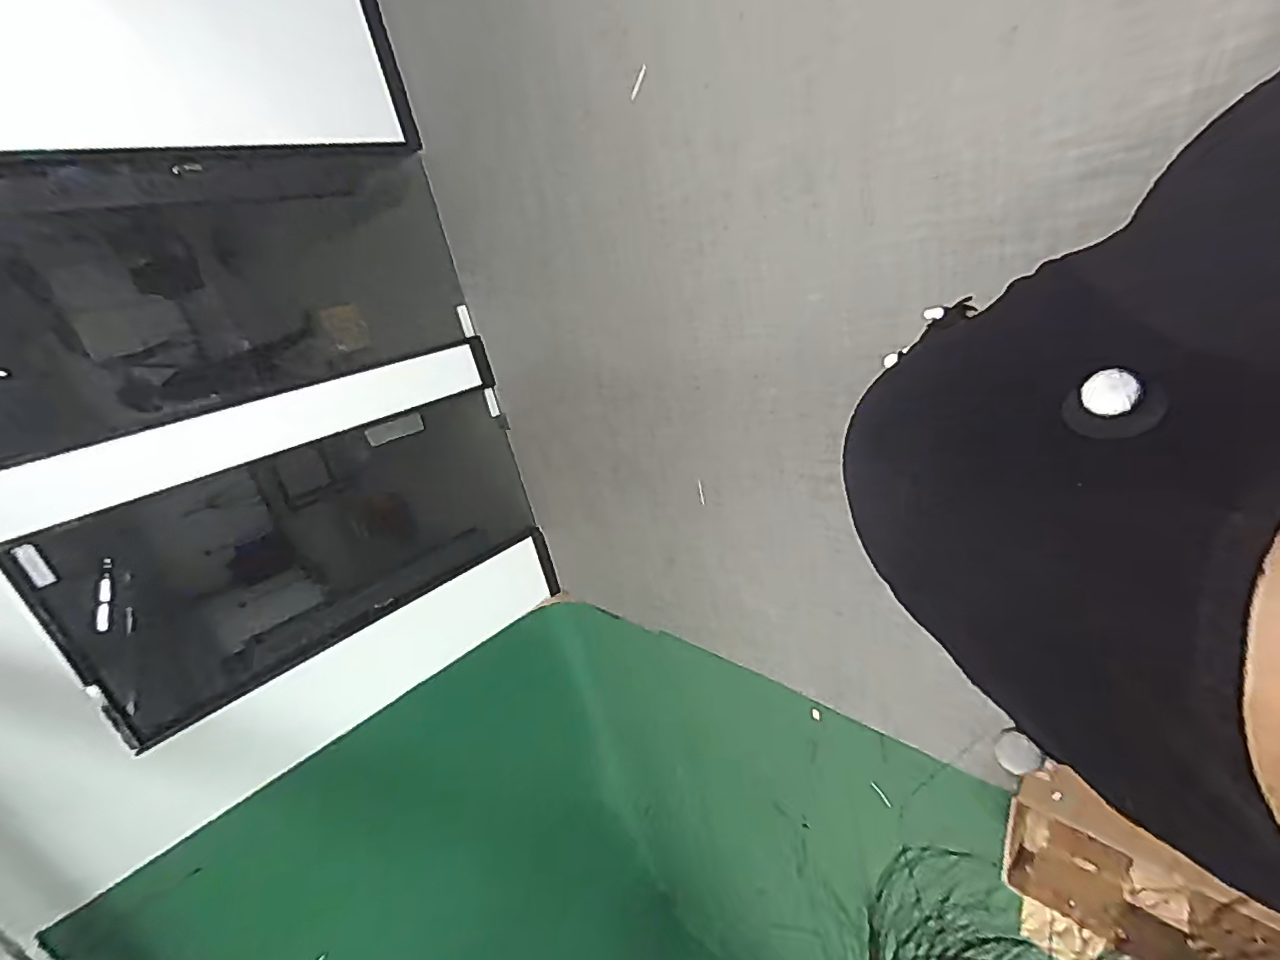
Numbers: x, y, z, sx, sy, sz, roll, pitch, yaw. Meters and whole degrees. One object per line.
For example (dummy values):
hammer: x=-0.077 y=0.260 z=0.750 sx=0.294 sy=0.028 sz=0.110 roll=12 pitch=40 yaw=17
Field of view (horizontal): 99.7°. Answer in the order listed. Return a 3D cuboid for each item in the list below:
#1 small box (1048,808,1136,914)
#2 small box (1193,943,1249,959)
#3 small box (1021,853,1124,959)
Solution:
small box: x=1.221 y=1.047 z=1.472 sx=0.168 sy=0.176 sz=0.179 roll=15 pitch=122 yaw=44
small box: x=1.305 y=1.161 z=1.165 sx=0.179 sy=0.176 sz=0.168 roll=14 pitch=123 yaw=45
small box: x=1.104 y=1.114 z=1.380 sx=0.179 sy=0.176 sz=0.168 roll=12 pitch=119 yaw=46
